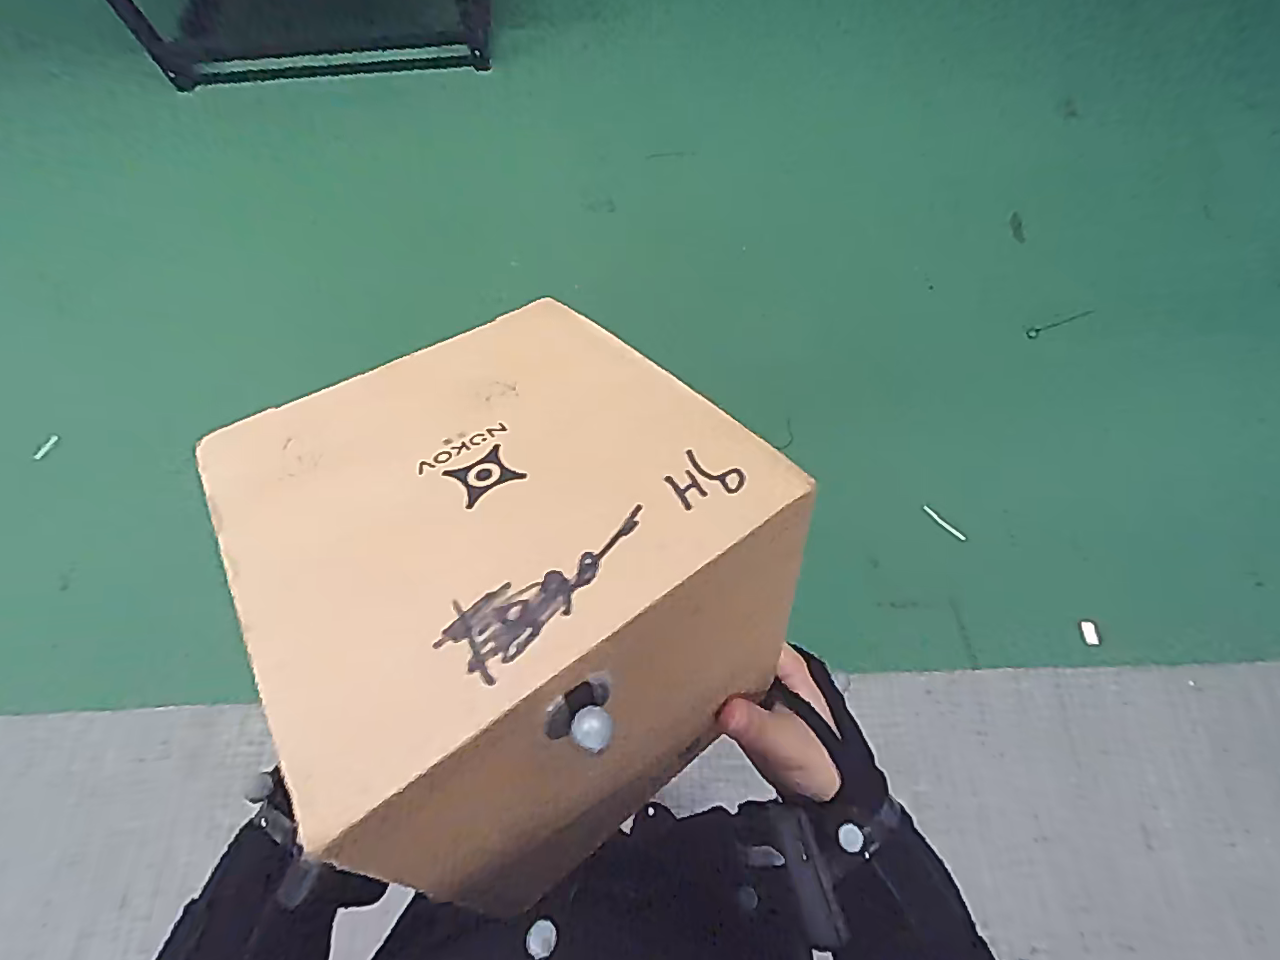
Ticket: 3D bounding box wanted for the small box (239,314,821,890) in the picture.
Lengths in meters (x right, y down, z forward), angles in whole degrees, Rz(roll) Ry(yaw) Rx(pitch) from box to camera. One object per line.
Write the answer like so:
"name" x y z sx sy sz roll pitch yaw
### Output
"small box" -0.045 0.052 0.263 0.168 0.176 0.179 -33 52 -21
